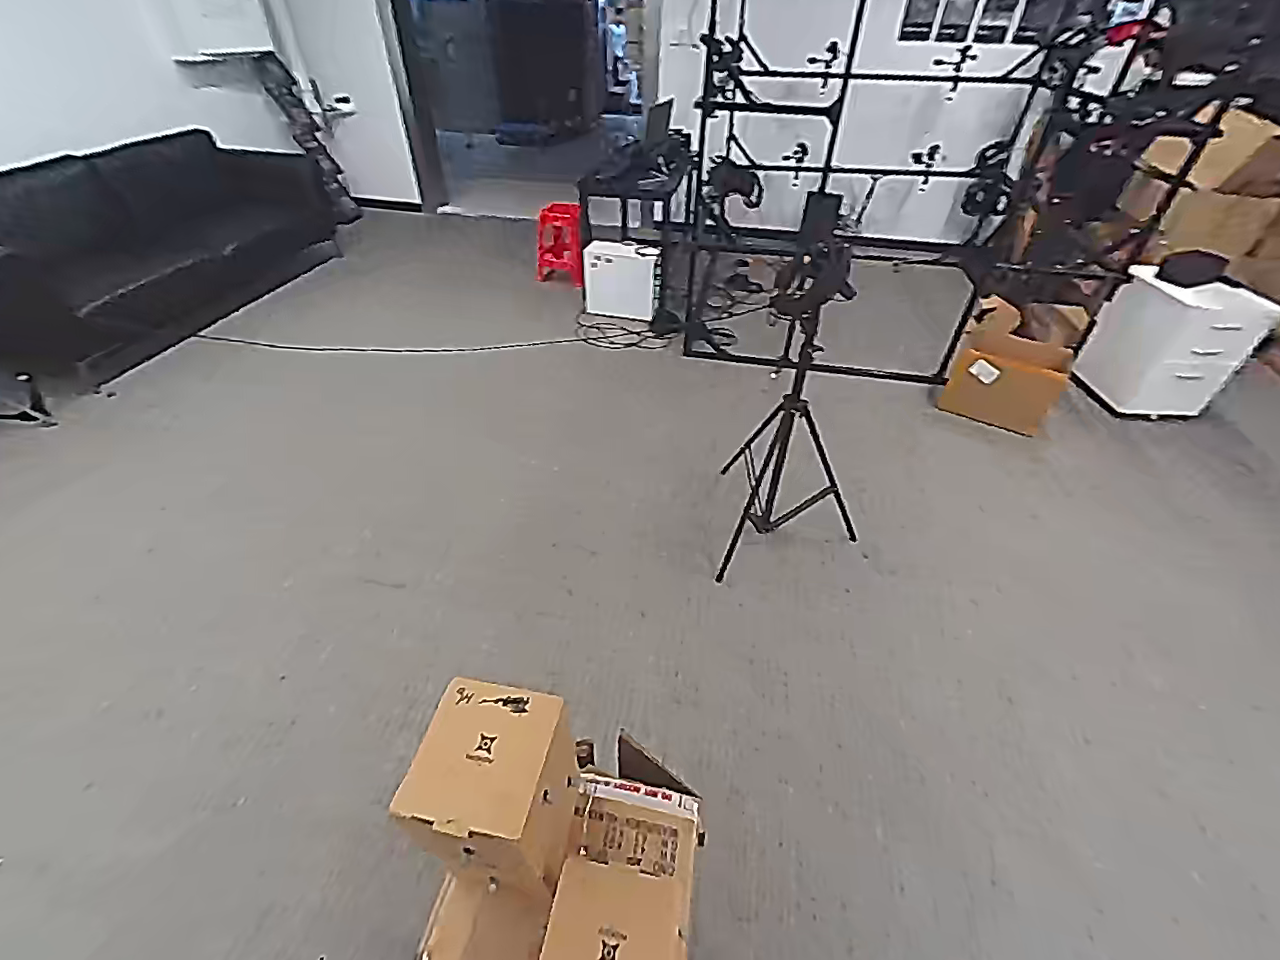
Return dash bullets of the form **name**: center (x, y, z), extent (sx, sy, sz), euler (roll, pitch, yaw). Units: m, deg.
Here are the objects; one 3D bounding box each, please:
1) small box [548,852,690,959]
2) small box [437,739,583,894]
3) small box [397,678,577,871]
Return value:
- **small box**: center (-0.028, 0.638, 0.727), extent (0.168, 0.176, 0.179), euler (6, 44, 8)
- **small box**: center (-0.191, 0.518, 0.856), extent (0.168, 0.176, 0.179), euler (6, 43, 8)
- **small box**: center (-0.190, 0.403, 0.738), extent (0.168, 0.176, 0.179), euler (7, 44, 9)
